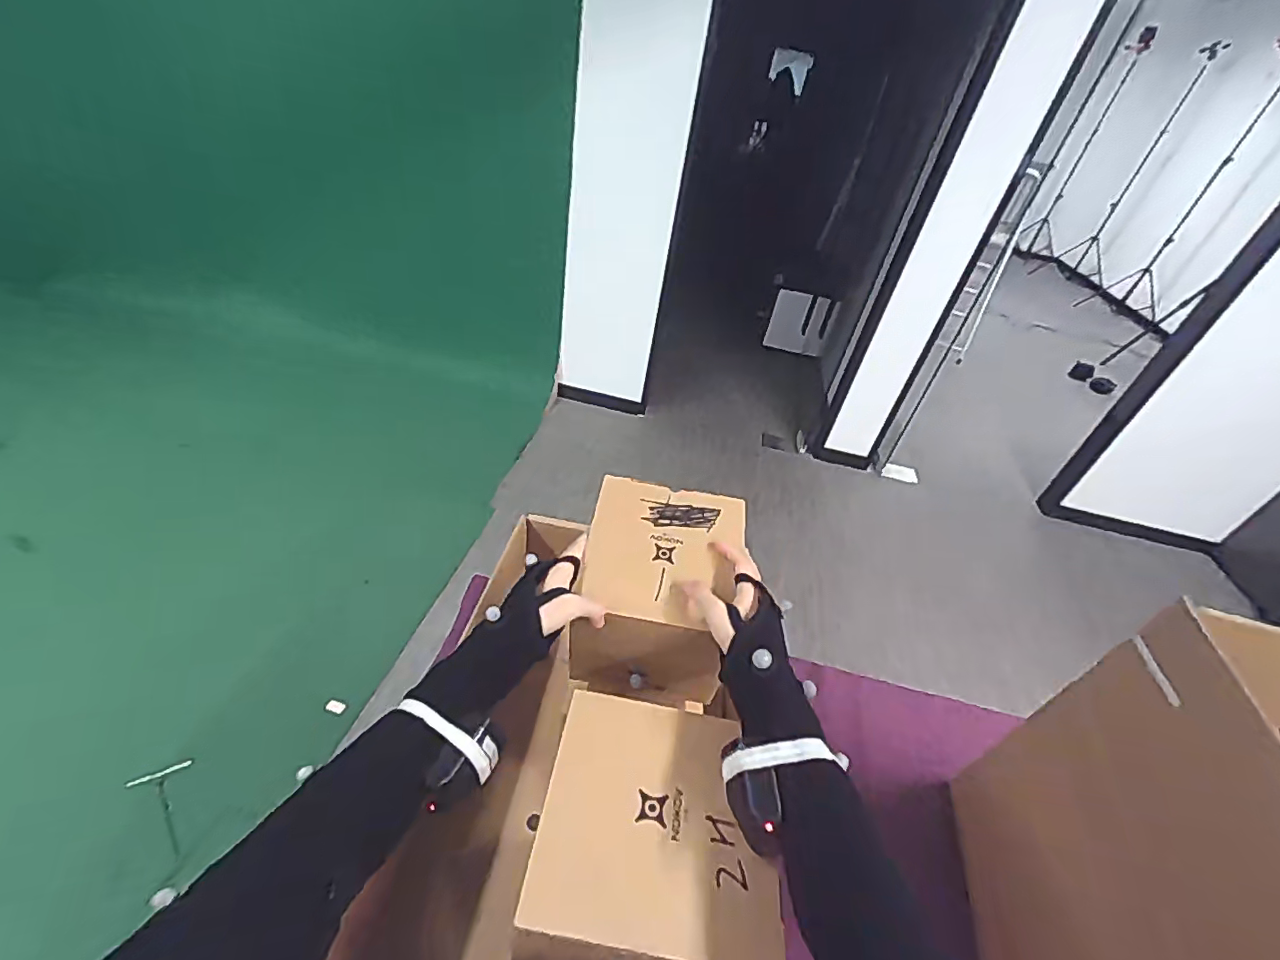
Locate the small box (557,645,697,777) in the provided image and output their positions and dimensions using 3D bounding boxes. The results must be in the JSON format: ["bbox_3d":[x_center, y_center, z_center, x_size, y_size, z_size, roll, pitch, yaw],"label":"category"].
[{"bbox_3d":[-0.015,0.279,0.740,0.168,0.176,0.179,9,40,0],"label":"small box"}]

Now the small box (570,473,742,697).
[{"bbox_3d":[0.016,0.121,0.623,0.168,0.176,0.179,10,48,2],"label":"small box"}]
